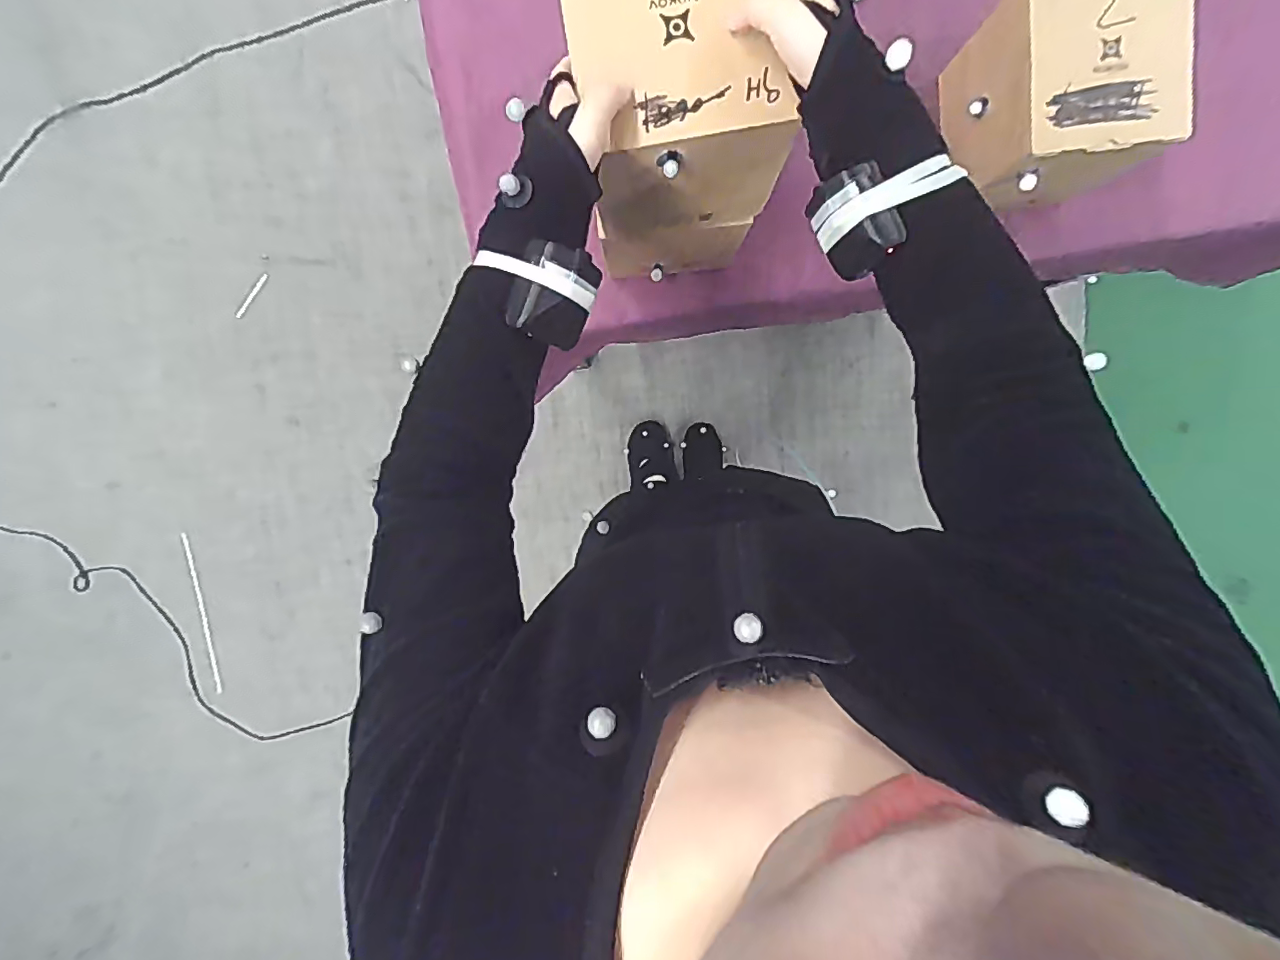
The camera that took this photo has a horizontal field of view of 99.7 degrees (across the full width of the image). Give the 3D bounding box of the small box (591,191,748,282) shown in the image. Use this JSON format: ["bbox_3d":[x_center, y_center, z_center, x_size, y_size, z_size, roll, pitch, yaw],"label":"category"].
[{"bbox_3d":[0.028,-0.352,0.643,0.168,0.176,0.179,-5,96,2],"label":"small box"}]

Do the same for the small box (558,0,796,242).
[{"bbox_3d":[0.027,-0.339,0.477,0.168,0.176,0.179,-8,93,4],"label":"small box"}]
